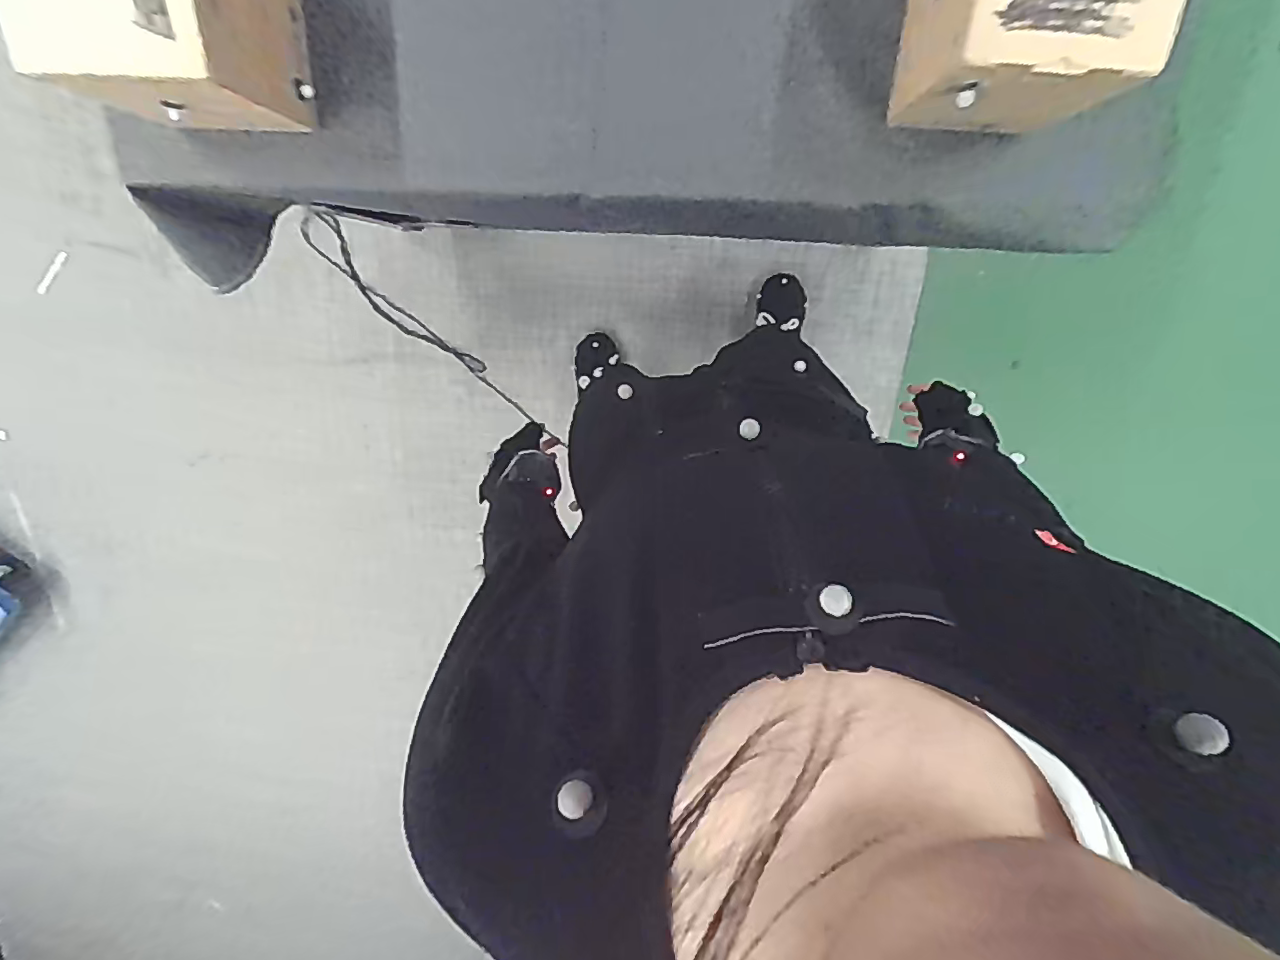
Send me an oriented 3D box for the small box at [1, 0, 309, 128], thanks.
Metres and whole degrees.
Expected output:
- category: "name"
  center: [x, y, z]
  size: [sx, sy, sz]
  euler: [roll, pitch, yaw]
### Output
- category: "small box"
  center: [-0.452, -0.459, 0.522]
  size: [0.179, 0.176, 0.168]
  euler: [2, 109, 1]
